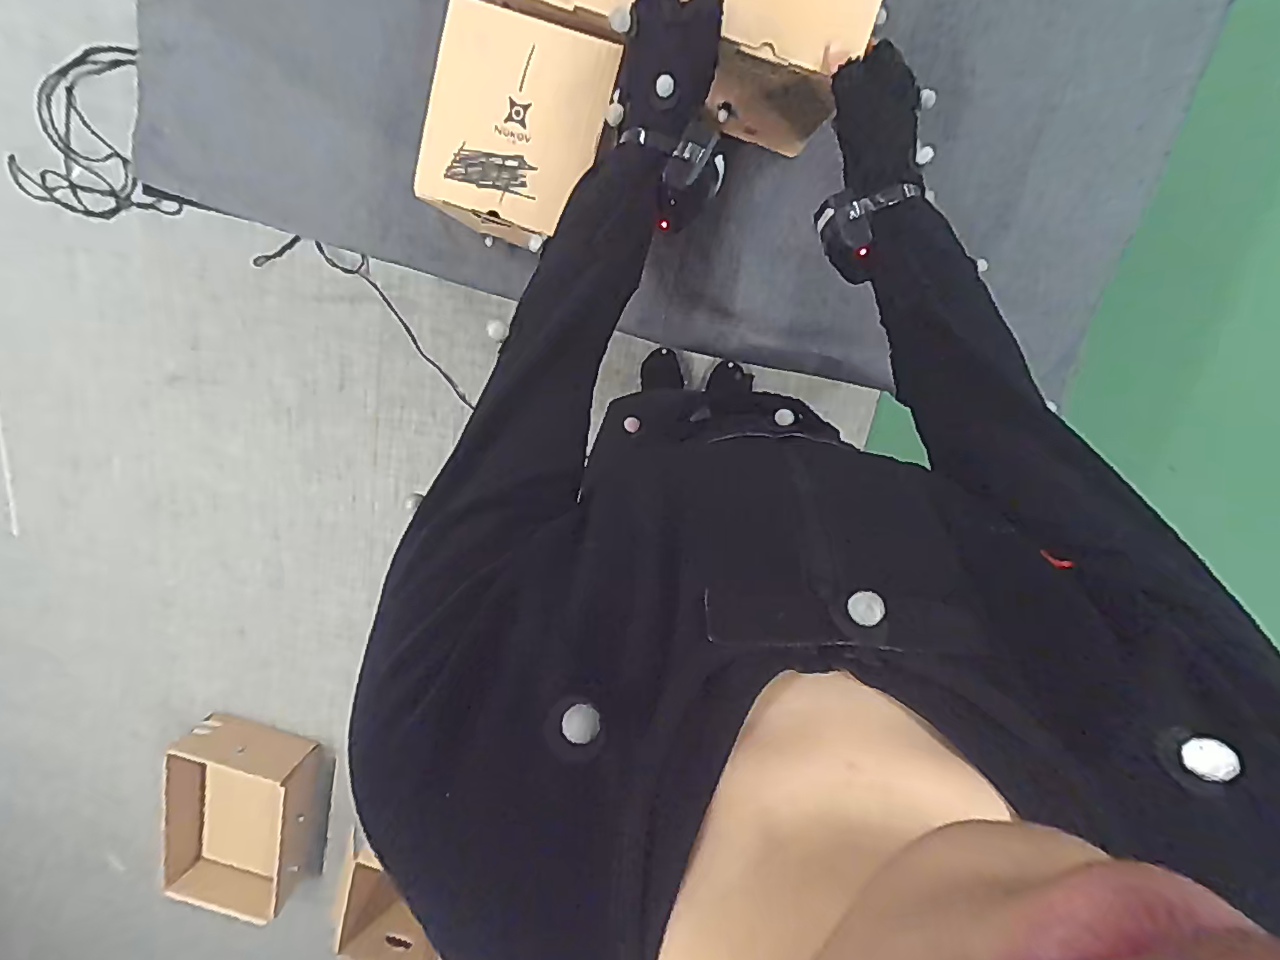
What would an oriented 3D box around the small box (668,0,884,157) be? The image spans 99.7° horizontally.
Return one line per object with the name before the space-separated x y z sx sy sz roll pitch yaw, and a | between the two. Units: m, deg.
small box | 0.130 -0.459 0.528 0.168 0.176 0.179 17 101 -5
